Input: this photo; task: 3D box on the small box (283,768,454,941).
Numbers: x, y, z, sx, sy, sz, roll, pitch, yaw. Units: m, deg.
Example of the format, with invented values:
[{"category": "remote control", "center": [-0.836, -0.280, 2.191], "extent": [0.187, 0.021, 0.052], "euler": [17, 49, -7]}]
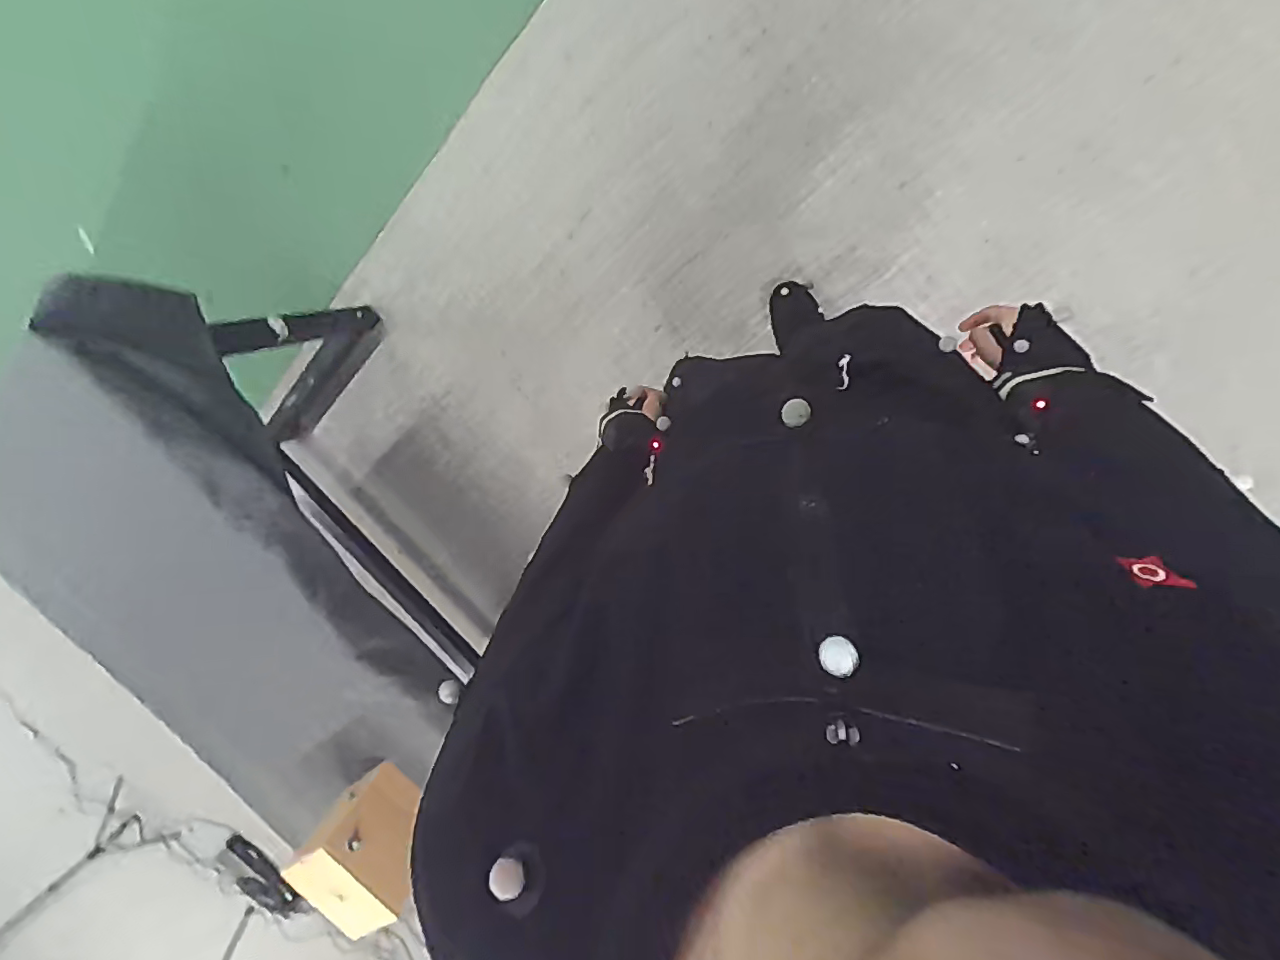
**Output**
[{"category": "small box", "center": [-0.468, 0.654, 0.955], "extent": [0.168, 0.176, 0.179], "euler": [-40, 96, 26]}]
